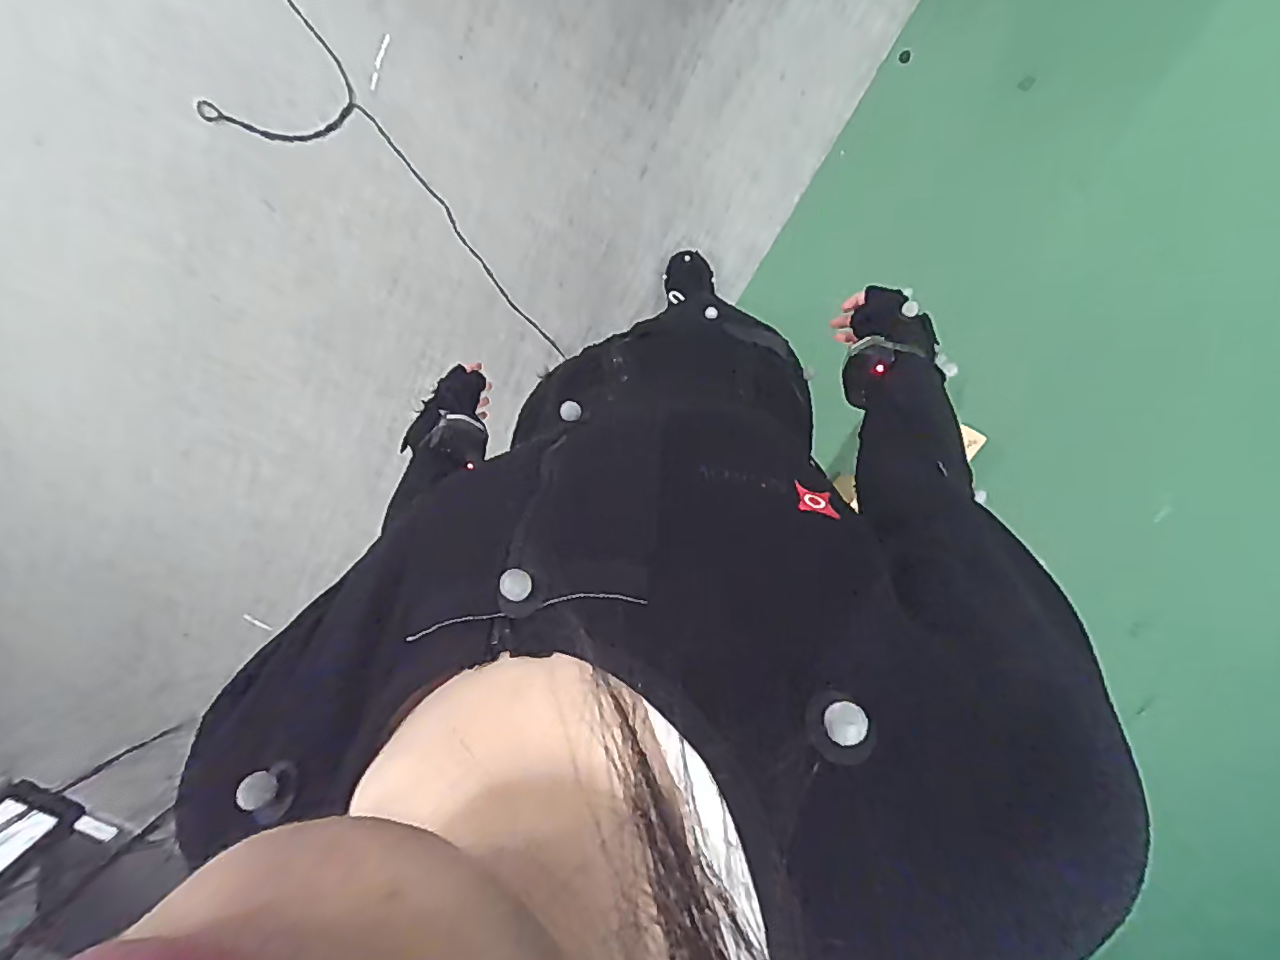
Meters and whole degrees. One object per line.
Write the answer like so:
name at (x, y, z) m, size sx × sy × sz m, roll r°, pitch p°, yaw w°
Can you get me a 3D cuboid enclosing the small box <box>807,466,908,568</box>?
small box at (0.565, 0.094, 1.437) m, size 0.168 × 0.176 × 0.179 m, roll 30°, pitch 112°, yaw -6°
